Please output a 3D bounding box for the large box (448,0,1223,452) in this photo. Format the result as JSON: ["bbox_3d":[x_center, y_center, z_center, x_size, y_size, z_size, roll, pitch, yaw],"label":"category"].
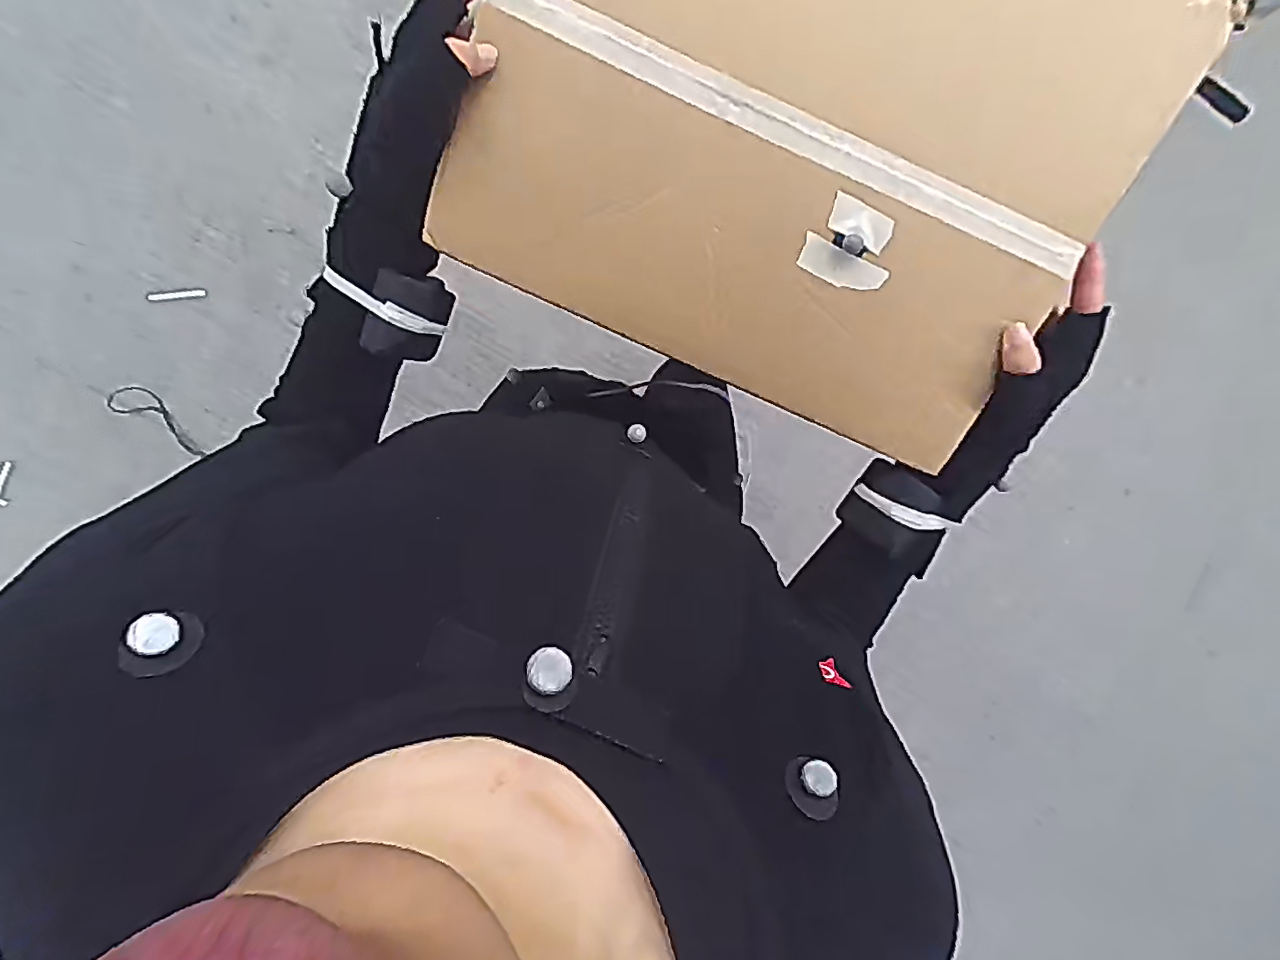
[{"bbox_3d":[0.110,-0.275,0.490,0.408,0.320,0.320,24,110,-4],"label":"large box"}]
